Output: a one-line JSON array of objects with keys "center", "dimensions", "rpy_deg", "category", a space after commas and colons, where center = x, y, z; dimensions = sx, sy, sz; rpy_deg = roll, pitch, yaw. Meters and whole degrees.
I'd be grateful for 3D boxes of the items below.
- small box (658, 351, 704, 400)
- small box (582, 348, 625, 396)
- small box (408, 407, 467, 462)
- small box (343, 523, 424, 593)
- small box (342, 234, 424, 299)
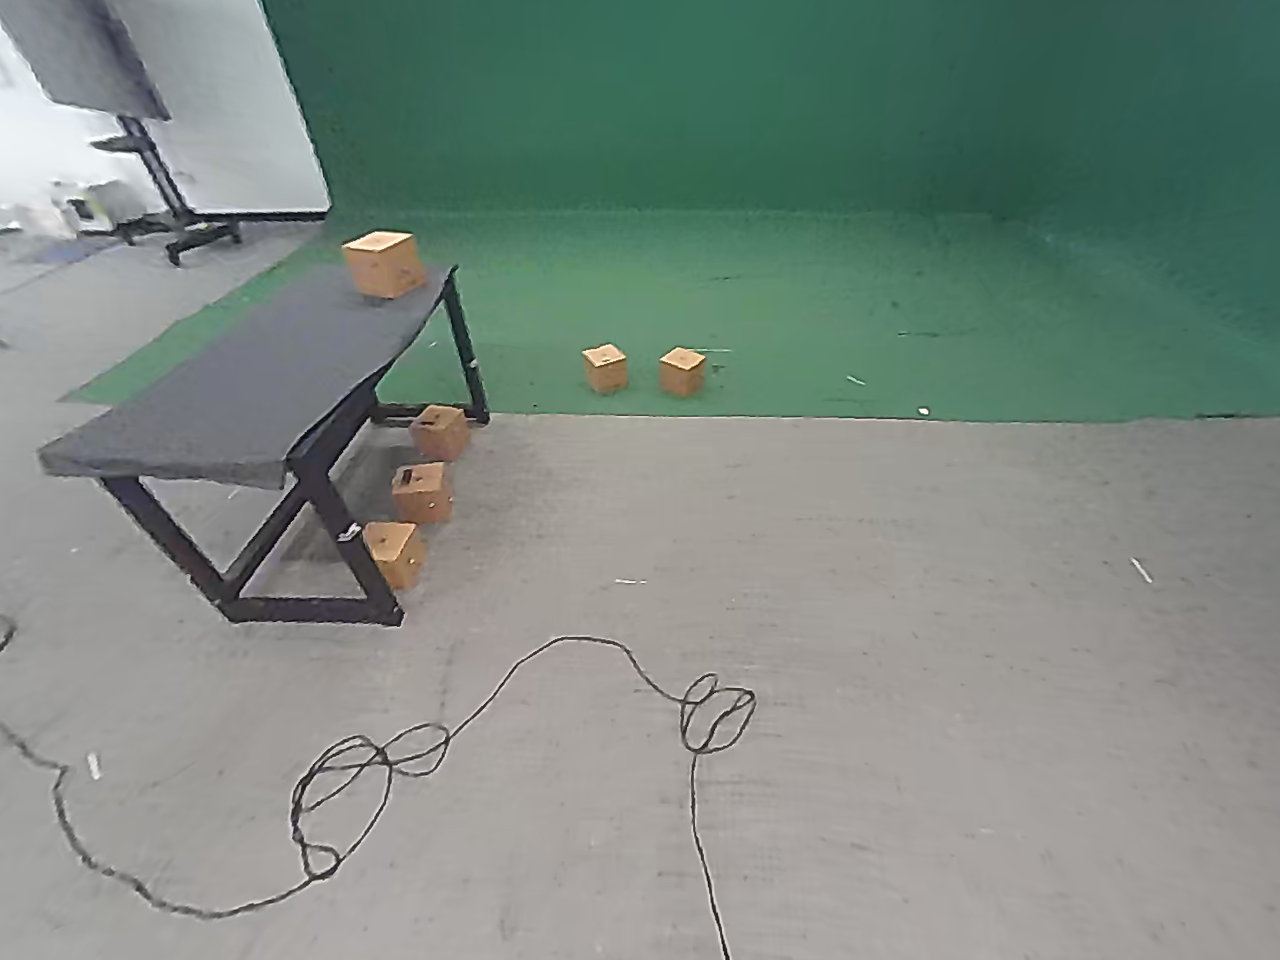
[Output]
[{"center": [0.205, -0.523, 2.739], "dimensions": [0.179, 0.176, 0.168], "rpy_deg": [26, 47, 28], "category": "small box"}, {"center": [-0.187, -0.556, 2.784], "dimensions": [0.168, 0.176, 0.179], "rpy_deg": [-21, 45, -21], "category": "small box"}, {"center": [-0.888, -0.199, 2.394], "dimensions": [0.168, 0.176, 0.179], "rpy_deg": [10, 42, 12], "category": "small box"}, {"center": [-0.874, 0.272, 1.867], "dimensions": [0.179, 0.176, 0.168], "rpy_deg": [4, 42, 6], "category": "small box"}, {"center": [-0.903, -0.756, 1.920], "dimensions": [0.179, 0.176, 0.168], "rpy_deg": [14, 44, 20], "category": "small box"}]
